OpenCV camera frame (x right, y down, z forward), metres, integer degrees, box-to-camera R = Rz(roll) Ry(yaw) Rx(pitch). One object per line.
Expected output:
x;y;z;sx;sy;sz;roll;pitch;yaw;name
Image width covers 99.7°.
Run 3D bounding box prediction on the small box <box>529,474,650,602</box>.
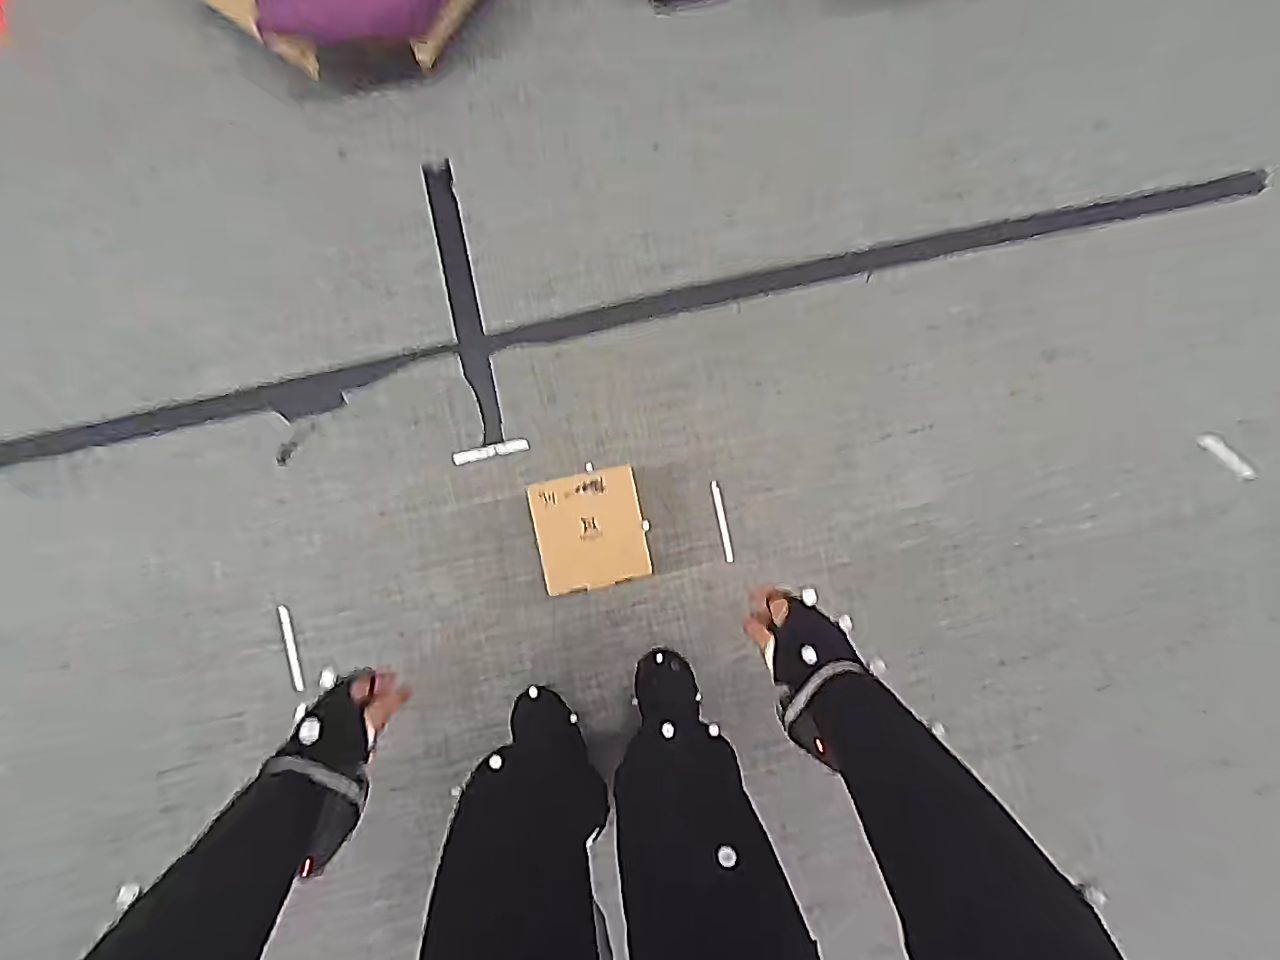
-0.081;0.089;0.914;0.168;0.176;0.179;-11;90;-4;small box
